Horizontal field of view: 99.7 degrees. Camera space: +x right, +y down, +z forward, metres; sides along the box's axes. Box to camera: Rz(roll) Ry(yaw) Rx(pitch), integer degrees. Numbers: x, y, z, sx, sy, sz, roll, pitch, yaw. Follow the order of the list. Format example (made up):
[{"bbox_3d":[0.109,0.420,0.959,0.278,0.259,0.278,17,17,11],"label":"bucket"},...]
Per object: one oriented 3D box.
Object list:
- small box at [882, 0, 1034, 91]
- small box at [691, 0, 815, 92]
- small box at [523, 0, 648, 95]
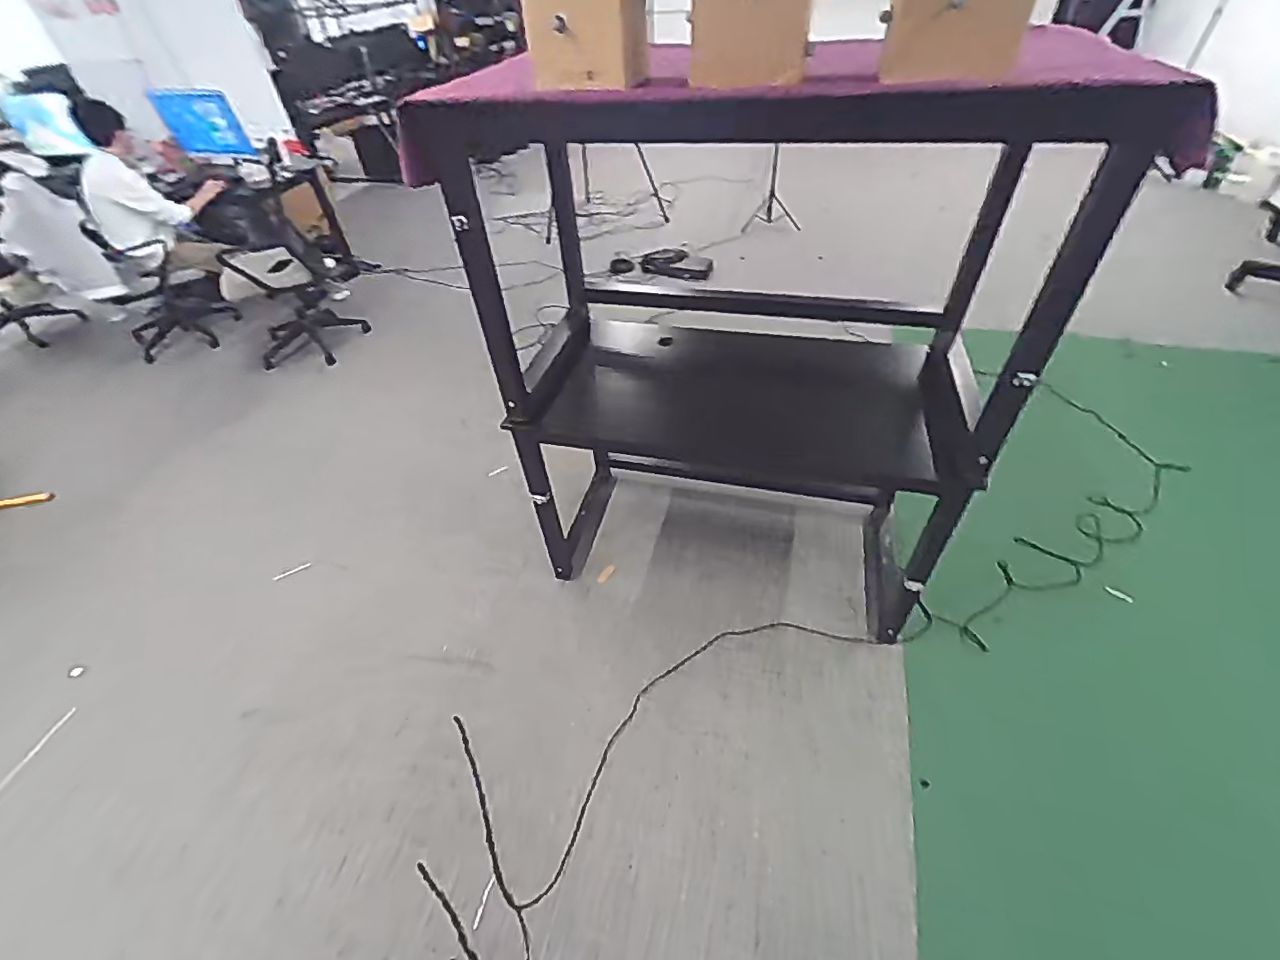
[{"bbox_3d":[0.461,-0.688,0.792,0.179,0.176,0.168,7,46,14],"label":"small box"},{"bbox_3d":[0.181,-0.732,0.861,0.179,0.176,0.168,9,45,13],"label":"small box"},{"bbox_3d":[-0.084,-0.769,0.922,0.168,0.176,0.179,8,44,12],"label":"small box"}]
